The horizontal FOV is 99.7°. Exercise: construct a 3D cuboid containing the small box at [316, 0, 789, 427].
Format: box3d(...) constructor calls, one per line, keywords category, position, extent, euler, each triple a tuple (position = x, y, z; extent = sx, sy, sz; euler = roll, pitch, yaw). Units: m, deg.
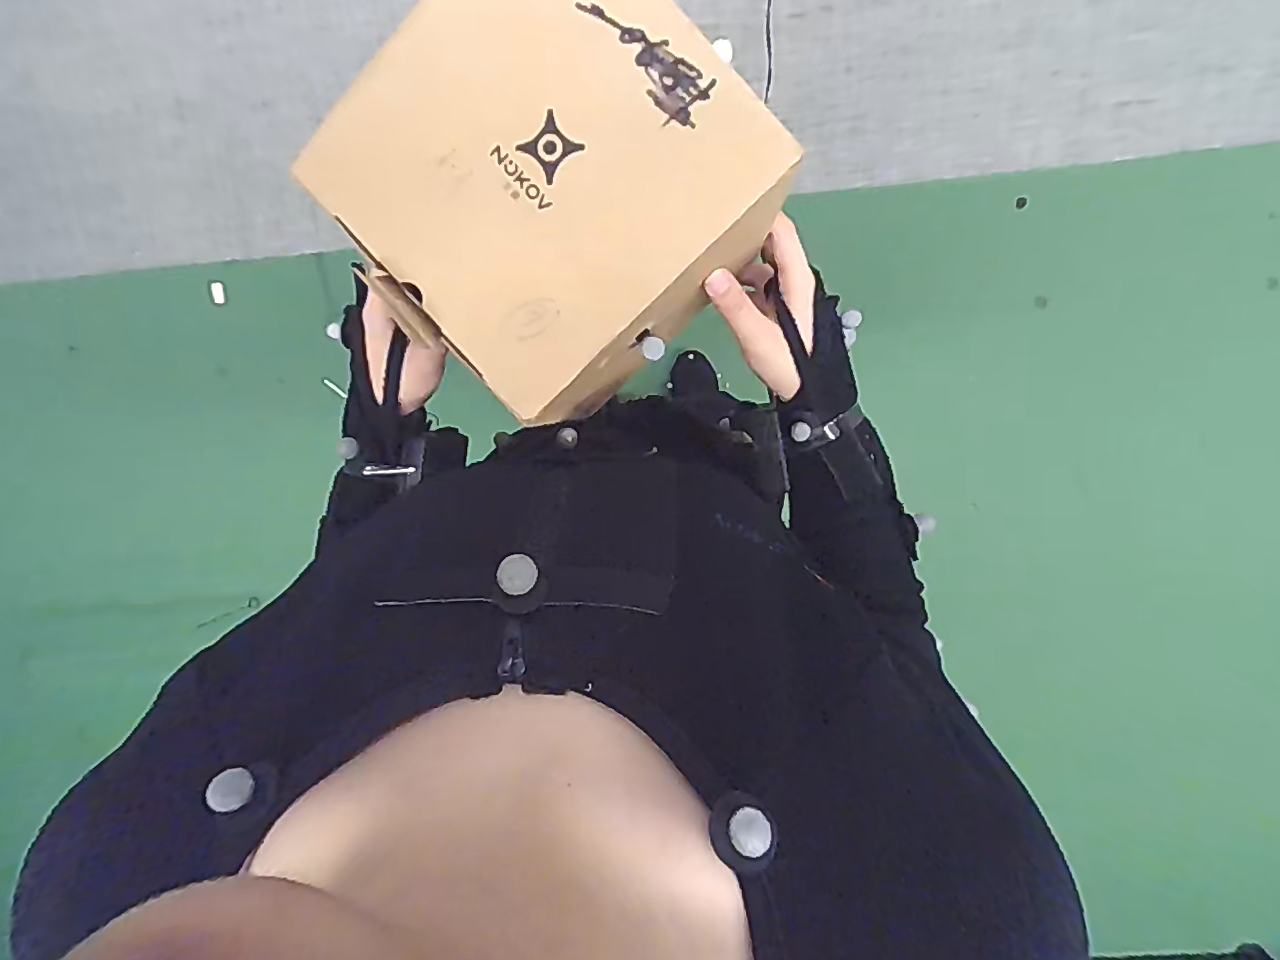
box3d(category="small box", position=(-0.037, -0.151, 0.333), extent=(0.179, 0.176, 0.168), euler=(-42, 92, 10))
